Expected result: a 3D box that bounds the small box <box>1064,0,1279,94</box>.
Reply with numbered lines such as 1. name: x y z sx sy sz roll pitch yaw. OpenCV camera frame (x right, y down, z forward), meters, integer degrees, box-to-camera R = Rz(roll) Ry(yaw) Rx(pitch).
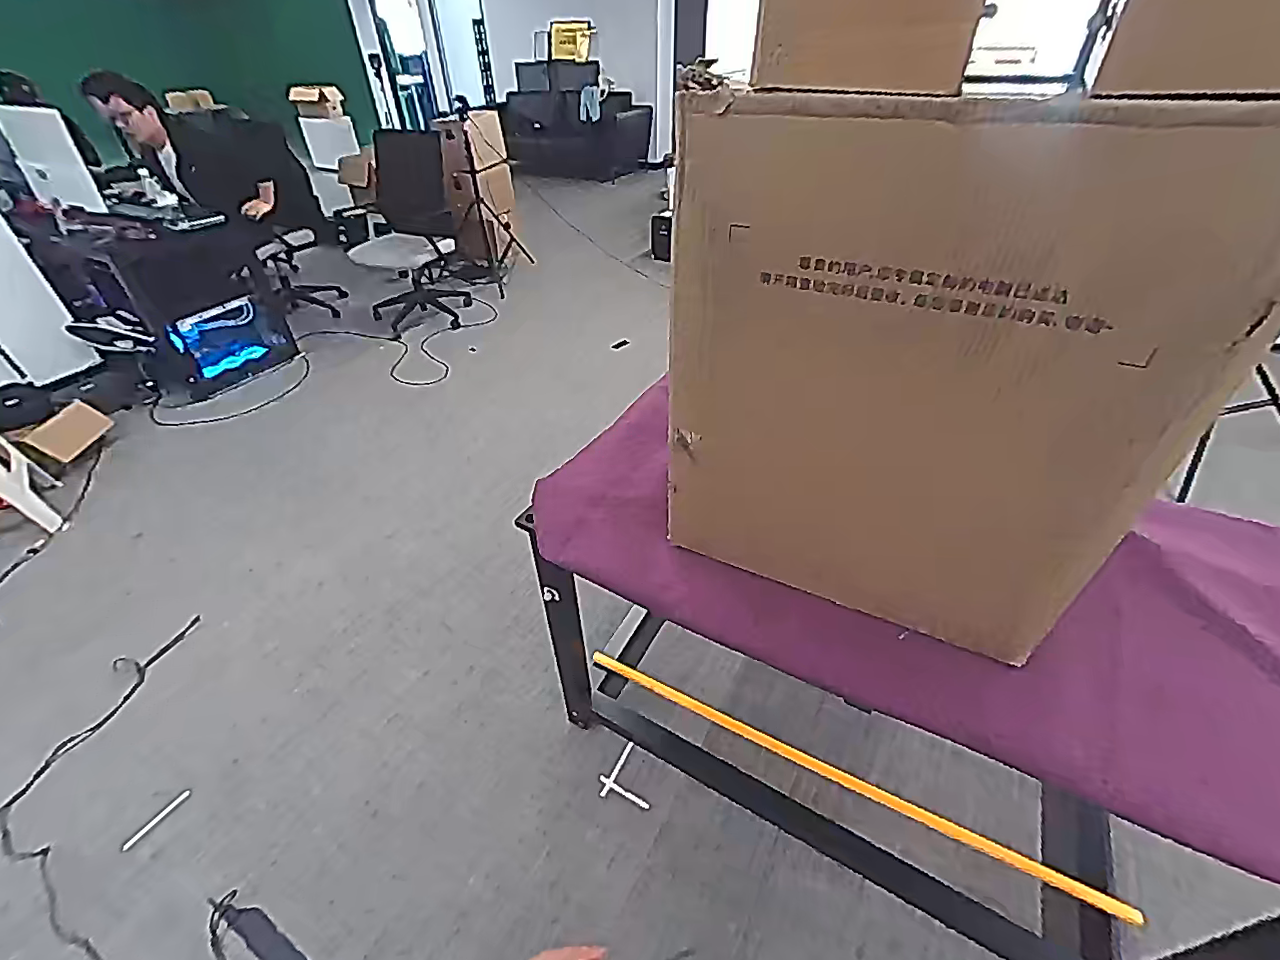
1. small box: 0.537 -0.480 0.516 0.168 0.176 0.179 19 44 24
